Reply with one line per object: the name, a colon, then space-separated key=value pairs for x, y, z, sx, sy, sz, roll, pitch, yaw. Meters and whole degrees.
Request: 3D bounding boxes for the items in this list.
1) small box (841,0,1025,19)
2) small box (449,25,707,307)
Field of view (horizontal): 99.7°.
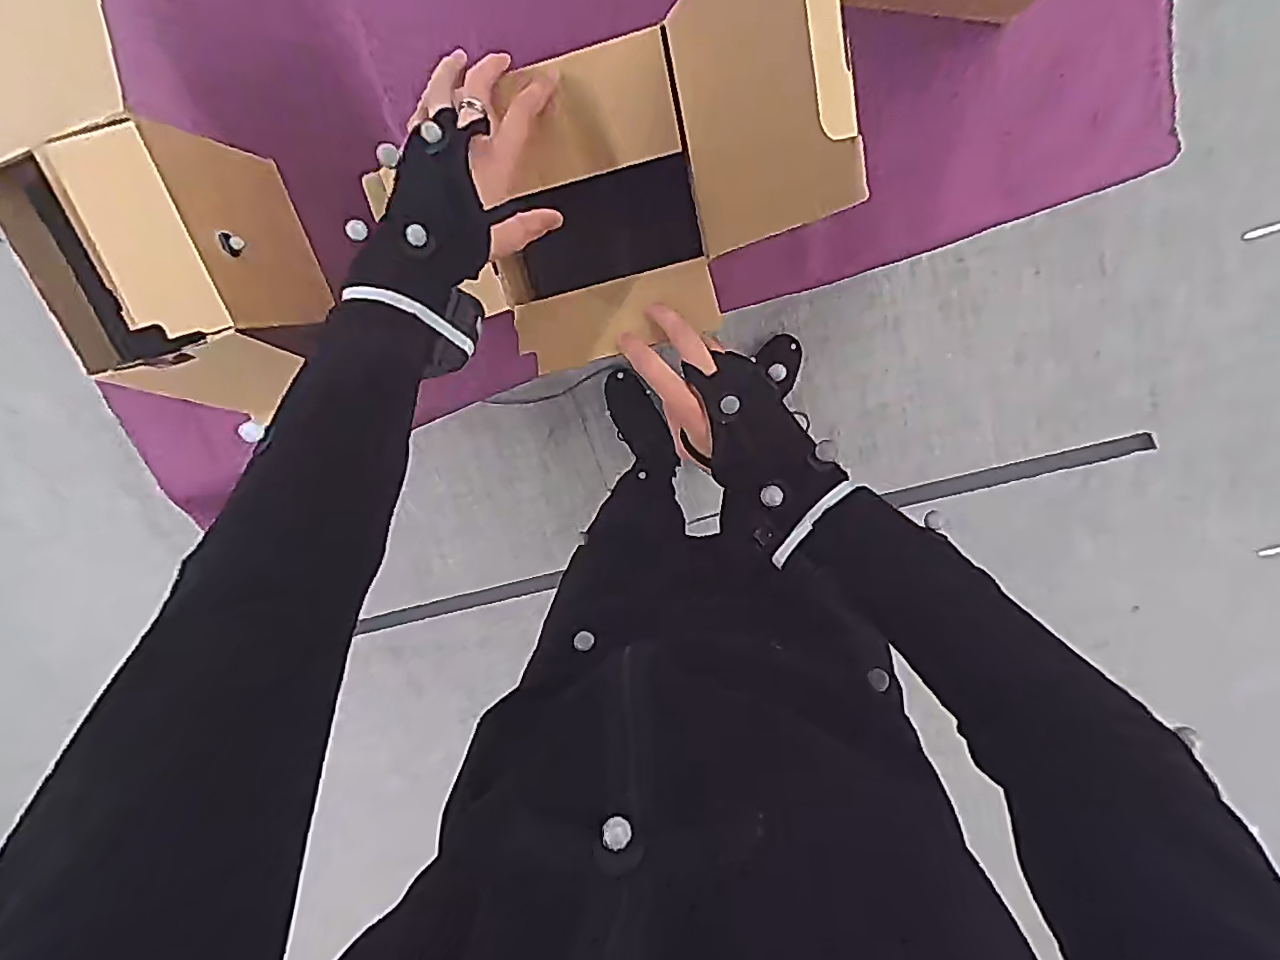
small box: x=0.260 y=-0.480 z=0.396 sx=0.179 sy=0.176 sz=0.168 roll=9 pitch=109 yaw=2
small box: x=-0.040 y=-0.262 z=0.499 sx=0.179 sy=0.176 sz=0.168 roll=-12 pitch=108 yaw=8
